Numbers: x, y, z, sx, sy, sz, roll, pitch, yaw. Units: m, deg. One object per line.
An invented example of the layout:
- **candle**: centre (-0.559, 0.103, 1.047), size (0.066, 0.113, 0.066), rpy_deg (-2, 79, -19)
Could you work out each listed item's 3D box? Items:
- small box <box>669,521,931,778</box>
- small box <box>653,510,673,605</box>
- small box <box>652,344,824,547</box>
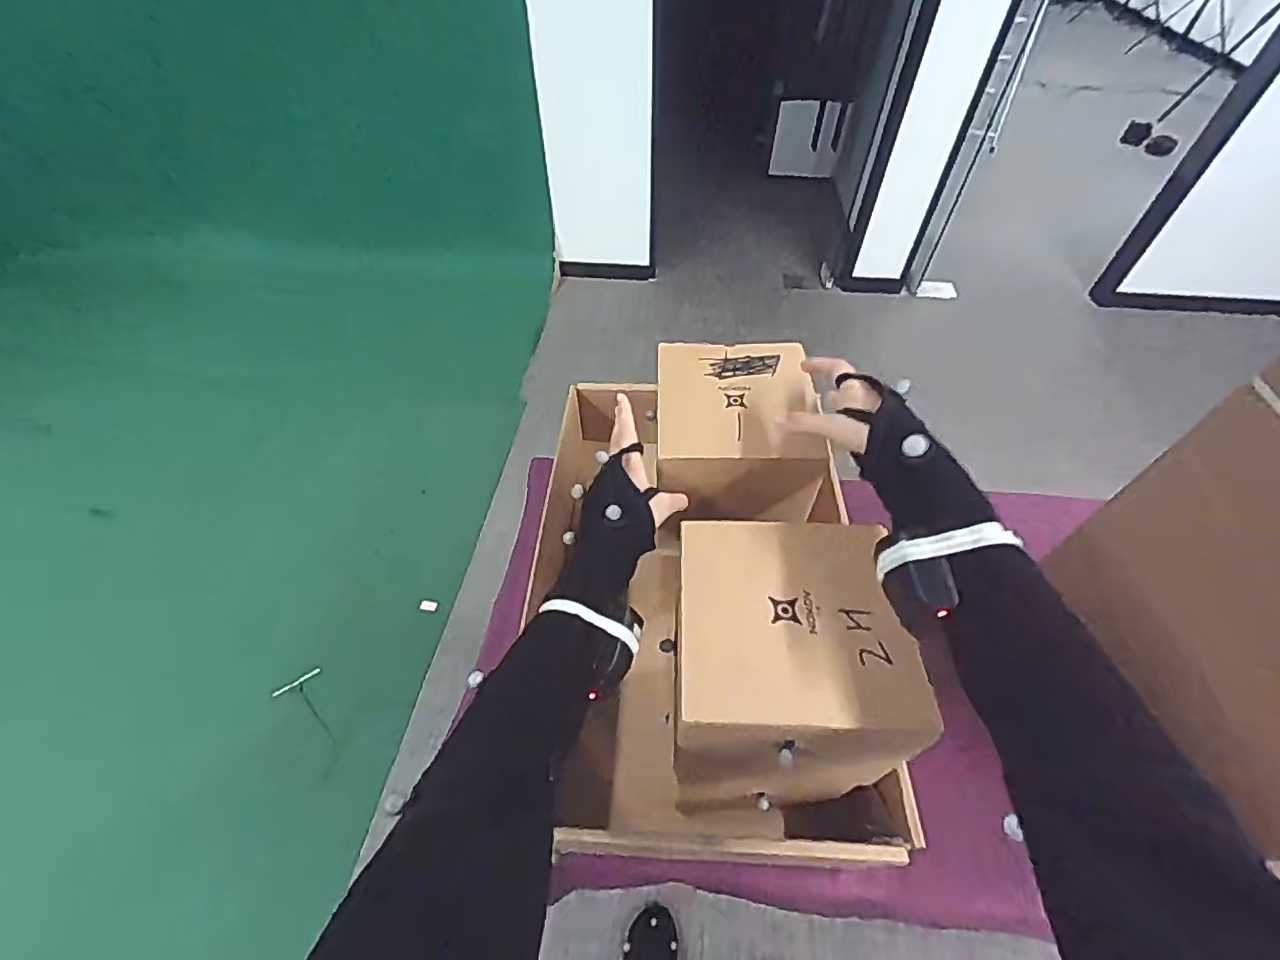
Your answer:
- **small box**: centre (0.115, 0.152, 0.473), size (0.179, 0.176, 0.168), rpy_deg (1, 51, 3)
- **small box**: centre (0.102, 0.070, 0.753), size (0.168, 0.176, 0.179), rpy_deg (-1, 52, 2)
- **small box**: centre (0.098, -0.038, 0.628), size (0.168, 0.176, 0.179), rpy_deg (-1, 53, 2)
